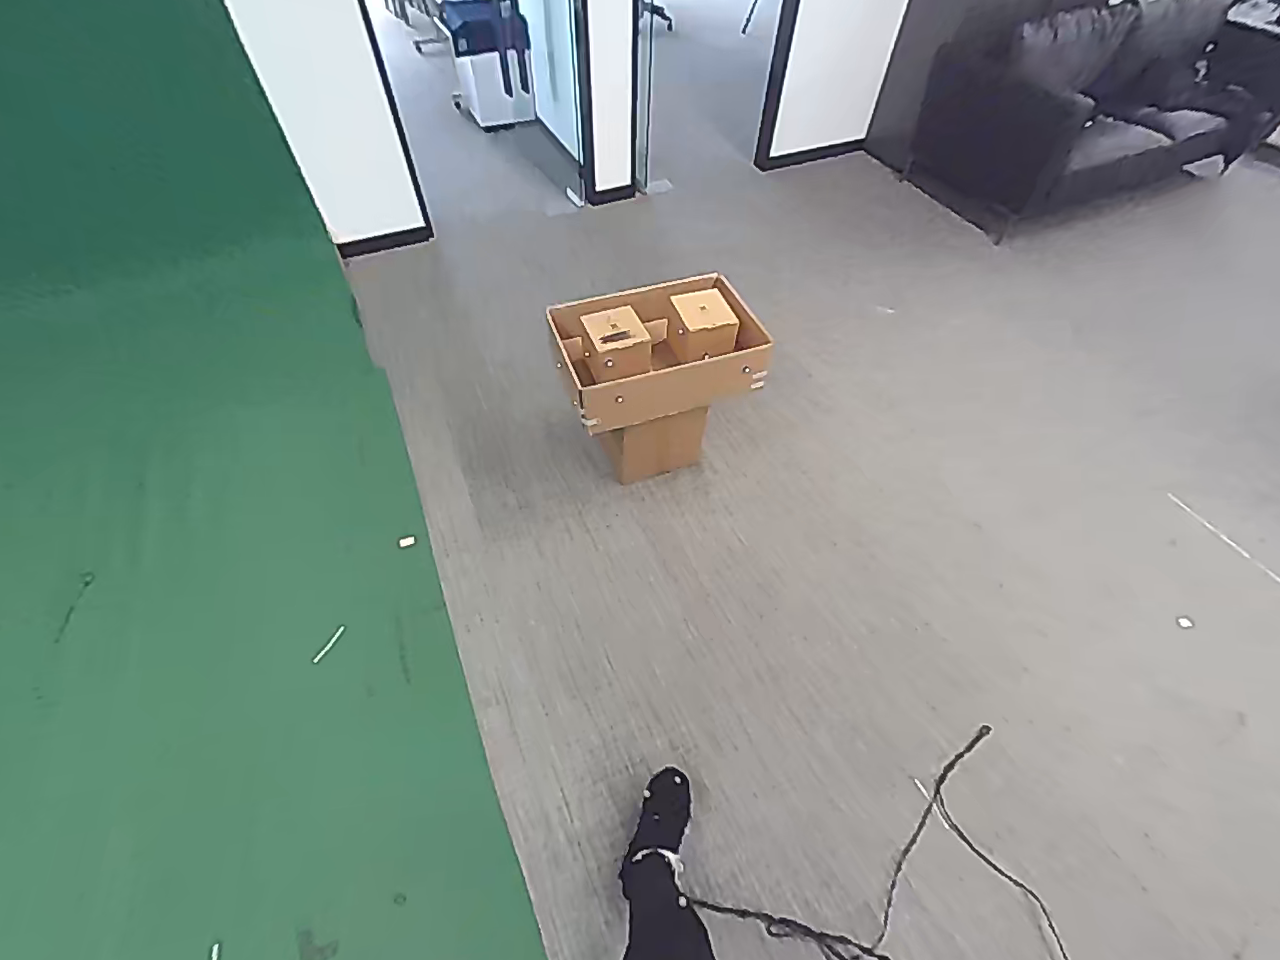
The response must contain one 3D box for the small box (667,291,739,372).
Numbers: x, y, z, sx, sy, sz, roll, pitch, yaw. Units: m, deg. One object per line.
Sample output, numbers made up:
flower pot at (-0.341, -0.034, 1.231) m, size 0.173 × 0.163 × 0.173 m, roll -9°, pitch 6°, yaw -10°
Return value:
small box at (0.194, -0.473, 1.725) m, size 0.168 × 0.176 × 0.179 m, roll -14°, pitch 56°, yaw -13°
